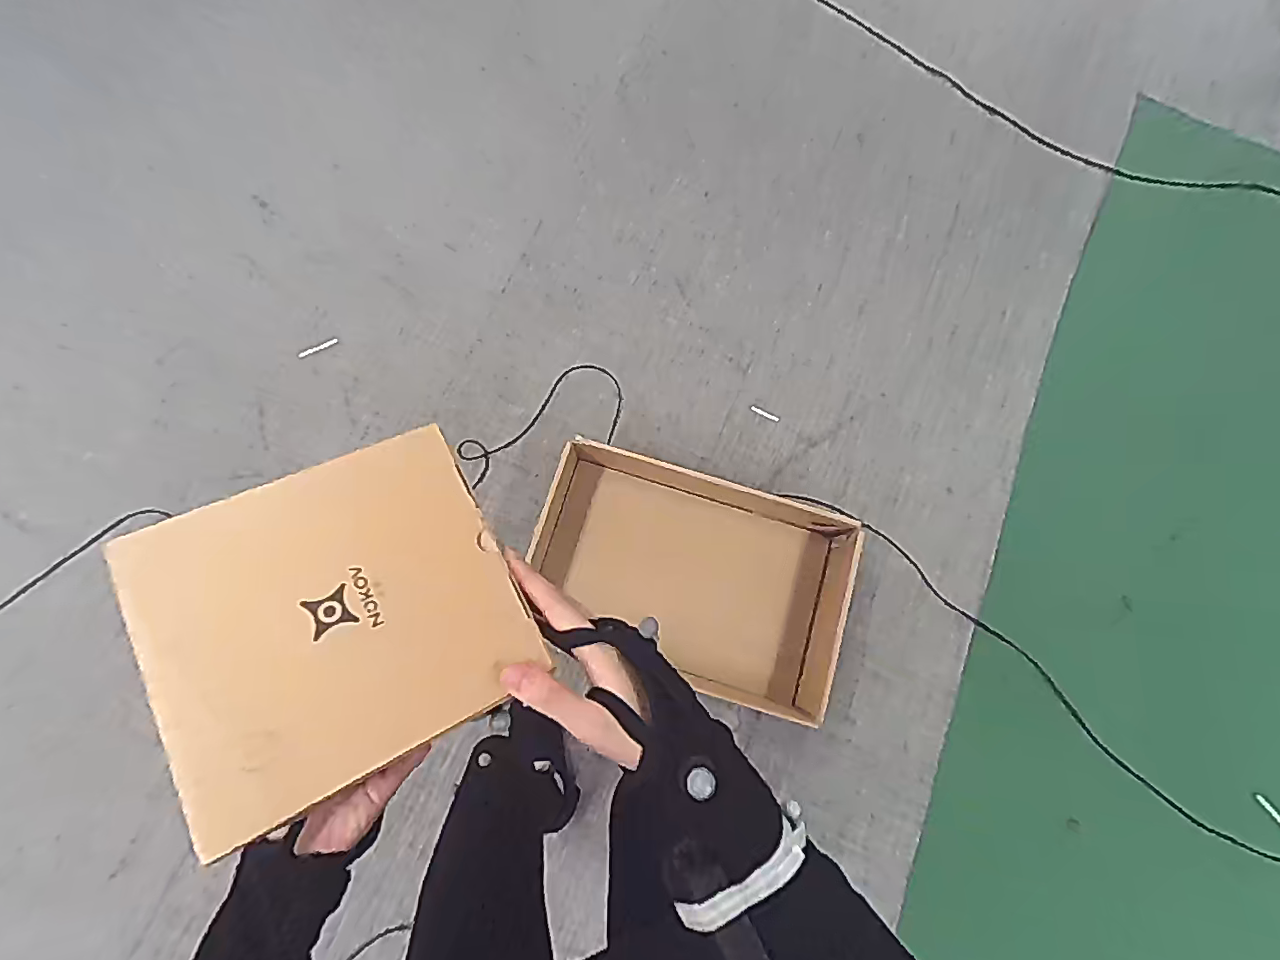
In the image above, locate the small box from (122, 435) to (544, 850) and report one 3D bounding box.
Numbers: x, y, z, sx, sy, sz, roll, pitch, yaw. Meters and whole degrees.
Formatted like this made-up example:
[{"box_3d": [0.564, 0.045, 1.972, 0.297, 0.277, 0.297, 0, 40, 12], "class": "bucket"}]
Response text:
[{"box_3d": [-0.179, 0.101, 0.369, 0.179, 0.176, 0.168, -25, 76, -21], "class": "small box"}]
